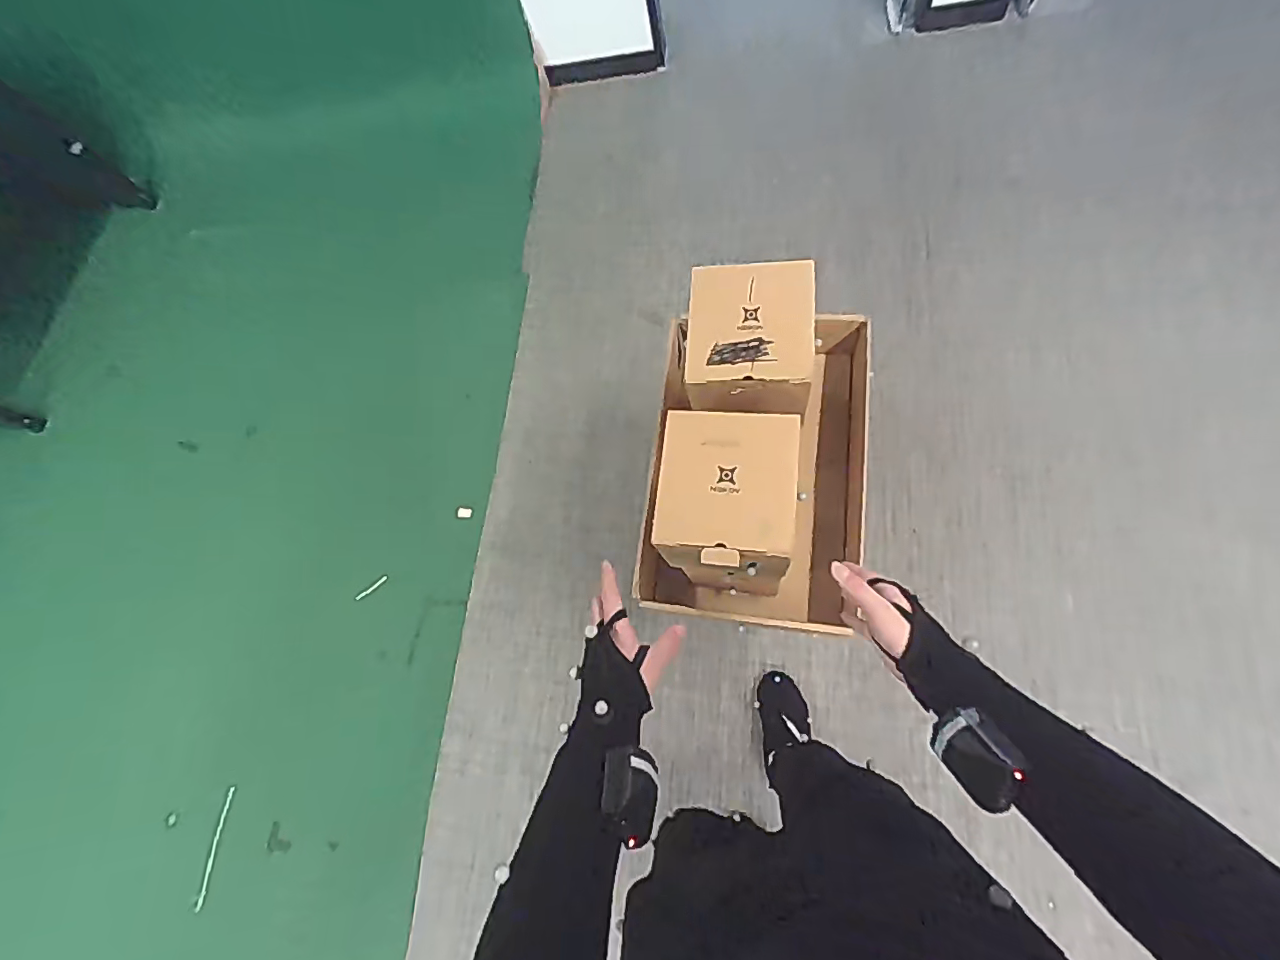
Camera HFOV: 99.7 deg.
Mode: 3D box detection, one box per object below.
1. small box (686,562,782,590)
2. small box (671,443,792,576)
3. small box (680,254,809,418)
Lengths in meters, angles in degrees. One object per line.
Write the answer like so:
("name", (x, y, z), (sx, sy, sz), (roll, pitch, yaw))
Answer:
("small box", (0.188, 0.103, 1.028), (0.168, 0.176, 0.179), (5, 73, 15))
("small box", (0.153, 0.055, 0.876), (0.168, 0.176, 0.179), (5, 74, 14))
("small box", (0.155, -0.195, 0.784), (0.168, 0.176, 0.179), (1, 76, 13))
